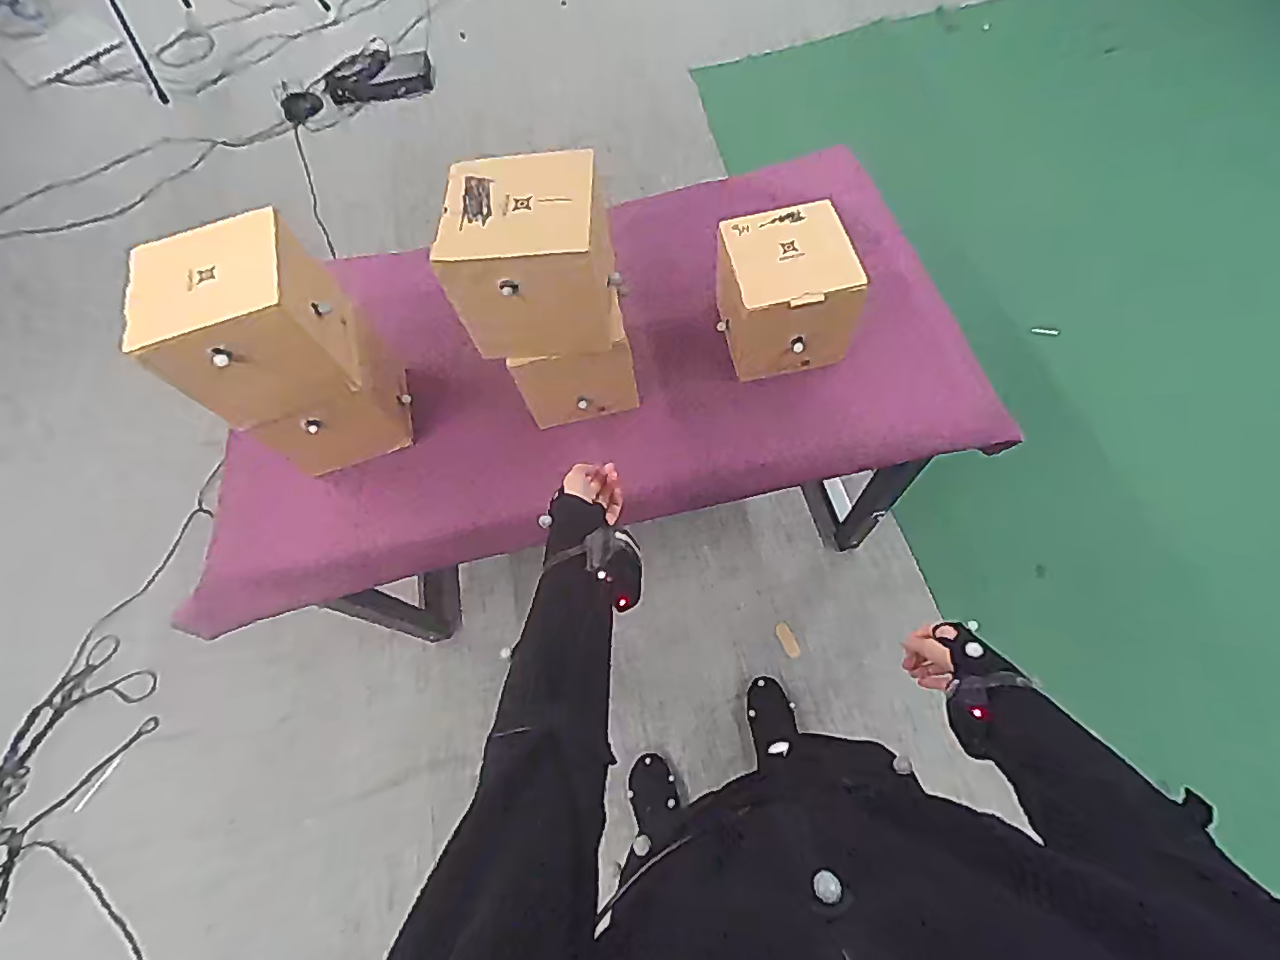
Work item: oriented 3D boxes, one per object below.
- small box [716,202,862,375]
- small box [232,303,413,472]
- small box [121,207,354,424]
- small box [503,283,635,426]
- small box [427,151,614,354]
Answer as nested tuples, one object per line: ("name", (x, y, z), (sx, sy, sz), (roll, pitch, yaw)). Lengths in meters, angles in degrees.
("small box", (0.212, -0.277, 0.819), (0.168, 0.176, 0.179), (-10, 65, 2))
("small box", (-0.477, -0.132, 0.830), (0.179, 0.176, 0.168), (-17, 65, -2))
("small box", (-0.487, -0.198, 0.683), (0.179, 0.176, 0.168), (-19, 66, -2))
("small box", (-0.107, -0.208, 0.823), (0.168, 0.176, 0.179), (-12, 65, 1))
("small box", (-0.133, -0.272, 0.674), (0.179, 0.176, 0.168), (-2, 65, 5))
